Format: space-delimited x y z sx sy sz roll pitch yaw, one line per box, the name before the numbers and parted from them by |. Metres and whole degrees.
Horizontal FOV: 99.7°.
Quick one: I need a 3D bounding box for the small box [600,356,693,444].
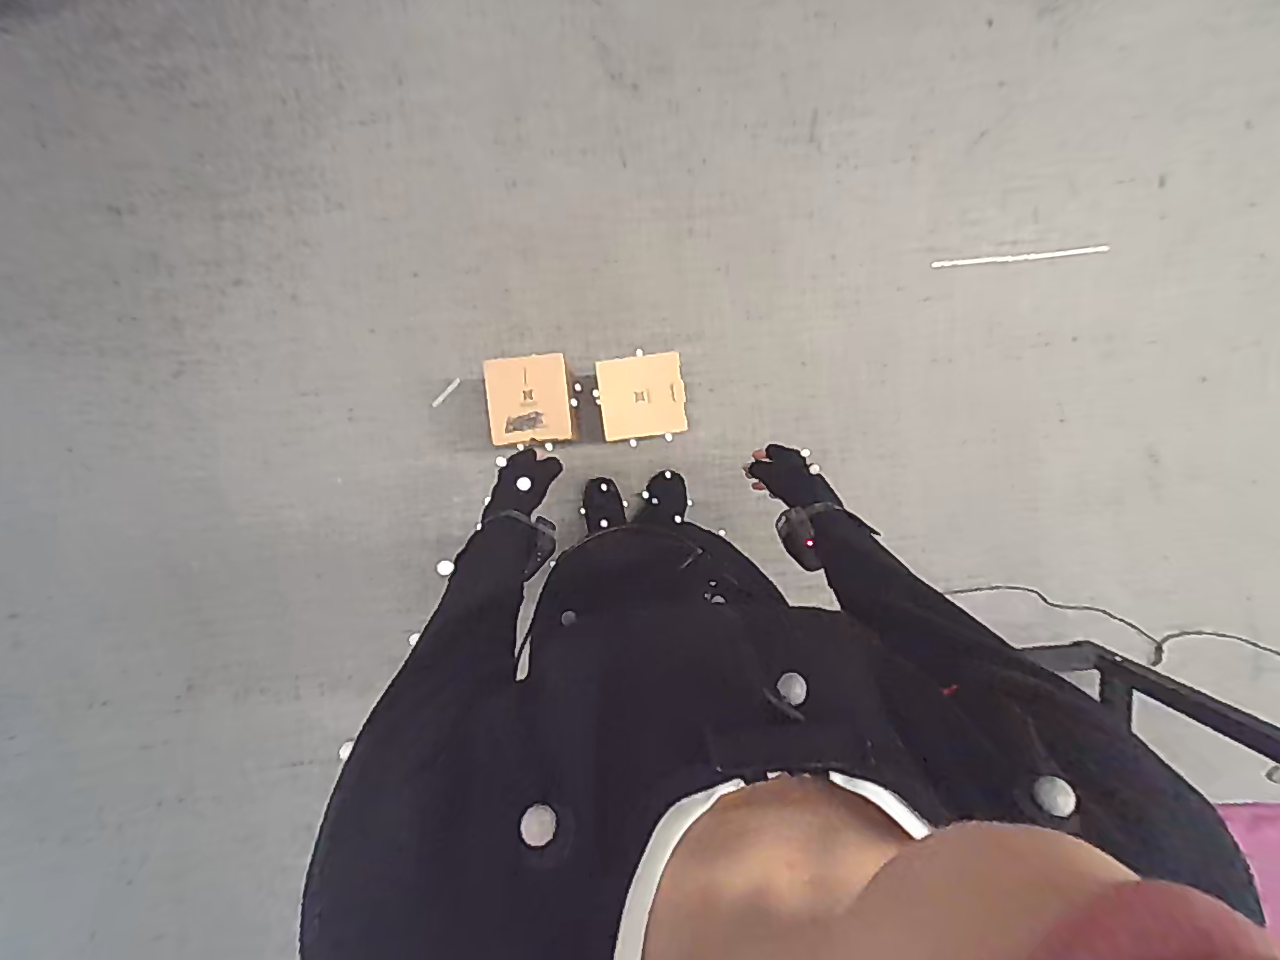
small box | 0.012 -0.169 1.186 0.179 0.176 0.168 -8 96 -2
